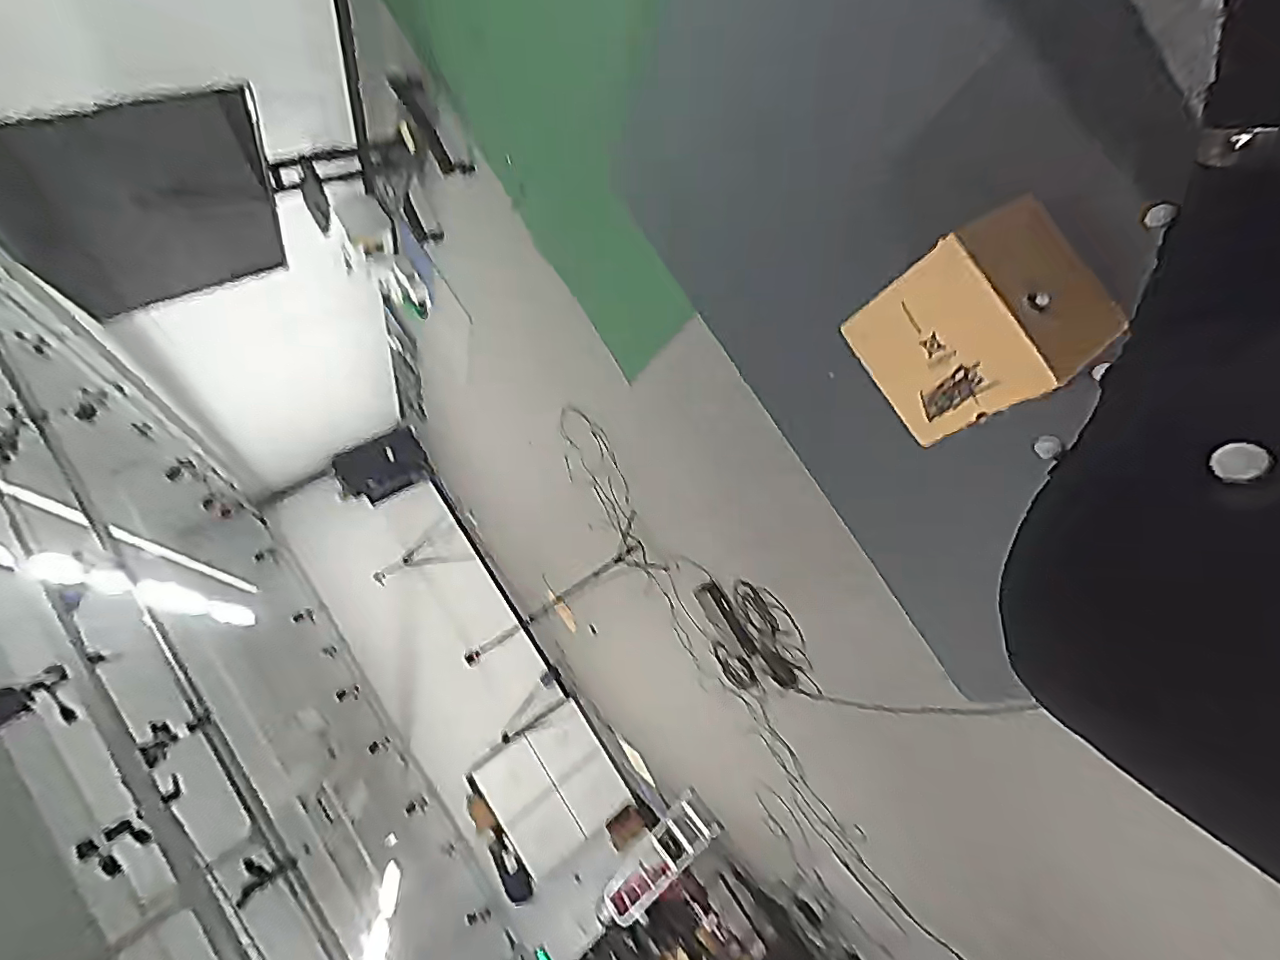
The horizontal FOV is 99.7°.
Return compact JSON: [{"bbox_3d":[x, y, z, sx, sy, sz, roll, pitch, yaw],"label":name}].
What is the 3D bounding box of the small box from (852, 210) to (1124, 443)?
[{"bbox_3d":[0.395,-0.175,0.622,0.179,0.176,0.168,57,153,5],"label":"small box"}]
